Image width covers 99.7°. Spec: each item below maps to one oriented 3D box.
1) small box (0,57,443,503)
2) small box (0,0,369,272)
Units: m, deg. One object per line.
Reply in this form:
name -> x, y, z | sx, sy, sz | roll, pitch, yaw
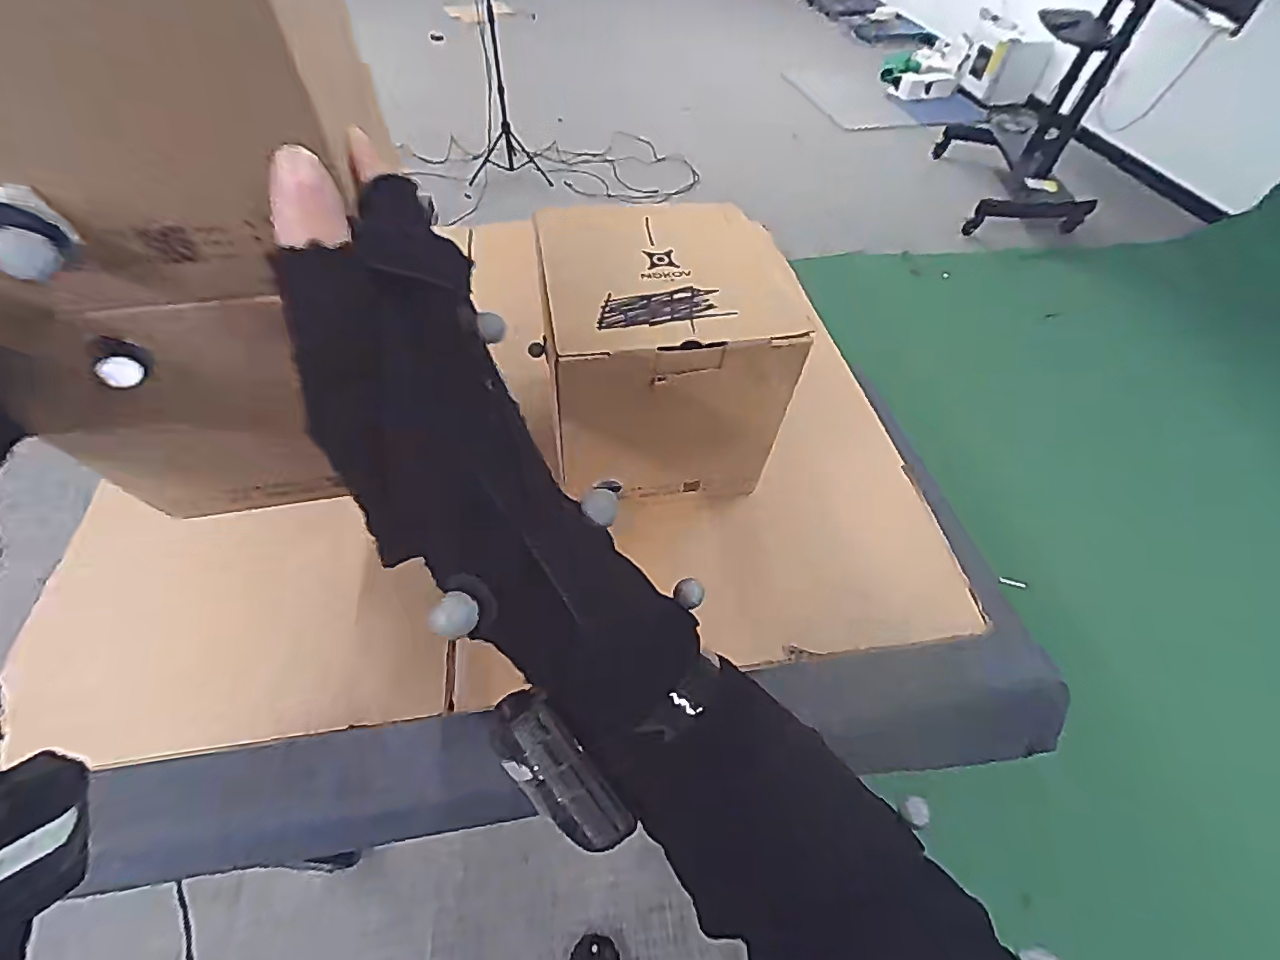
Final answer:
small box -> -0.218, -0.108, 0.312 | 0.168, 0.176, 0.179 | -9, 64, -12
small box -> -0.194, -0.187, 0.154 | 0.168, 0.176, 0.179 | -13, 68, -14
